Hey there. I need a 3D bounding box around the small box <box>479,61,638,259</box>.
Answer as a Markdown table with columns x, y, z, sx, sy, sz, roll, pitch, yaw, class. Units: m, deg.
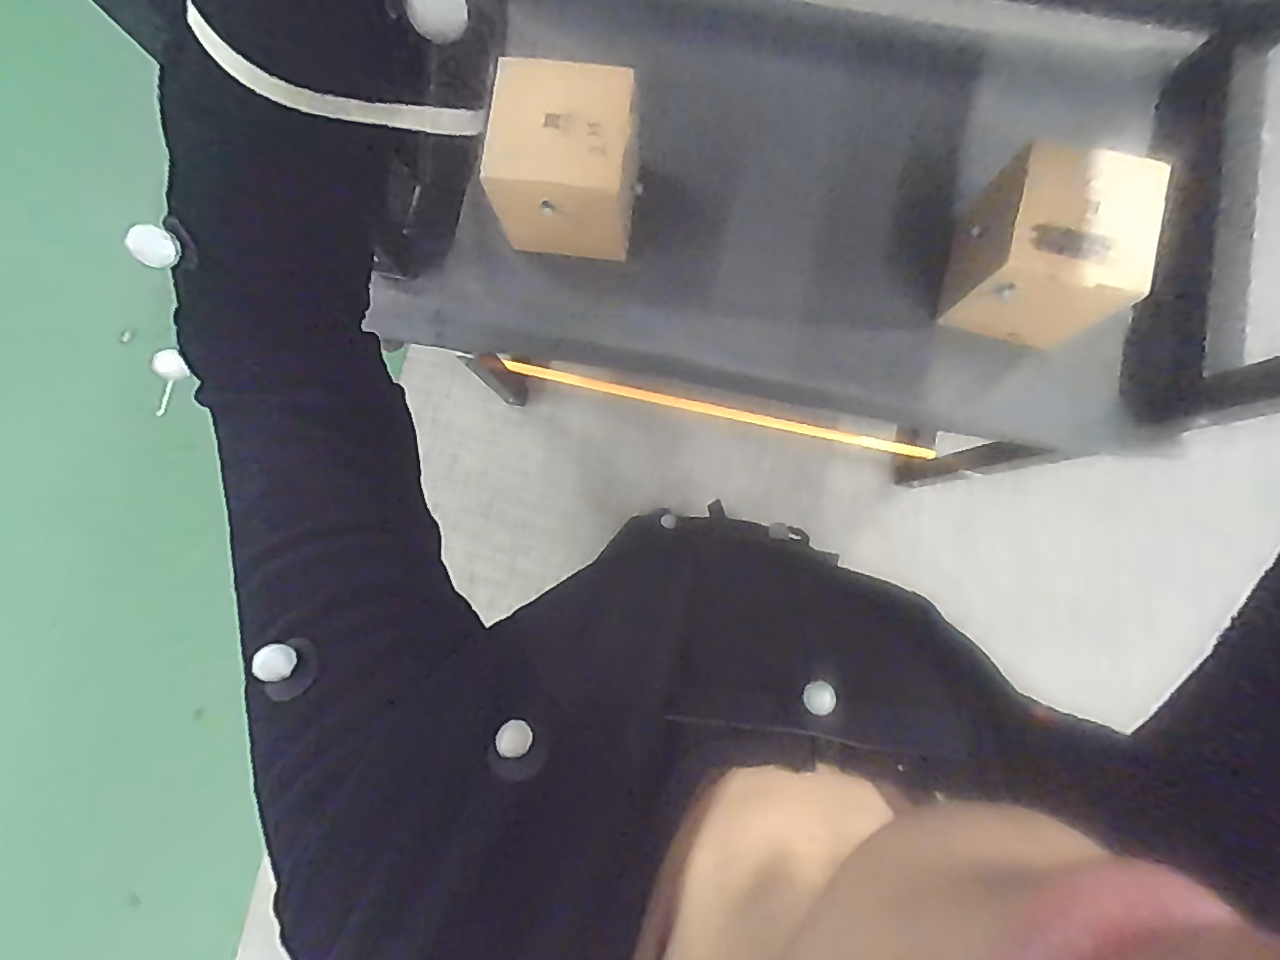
| x | y | z | sx | sy | sz | roll | pitch | yaw | class |
| --- | --- | --- | --- | --- | --- | --- | --- | --- | --- |
| -0.101 | -0.429 | 0.748 | 0.179 | 0.176 | 0.168 | 7 | 84 | 1 | small box |
